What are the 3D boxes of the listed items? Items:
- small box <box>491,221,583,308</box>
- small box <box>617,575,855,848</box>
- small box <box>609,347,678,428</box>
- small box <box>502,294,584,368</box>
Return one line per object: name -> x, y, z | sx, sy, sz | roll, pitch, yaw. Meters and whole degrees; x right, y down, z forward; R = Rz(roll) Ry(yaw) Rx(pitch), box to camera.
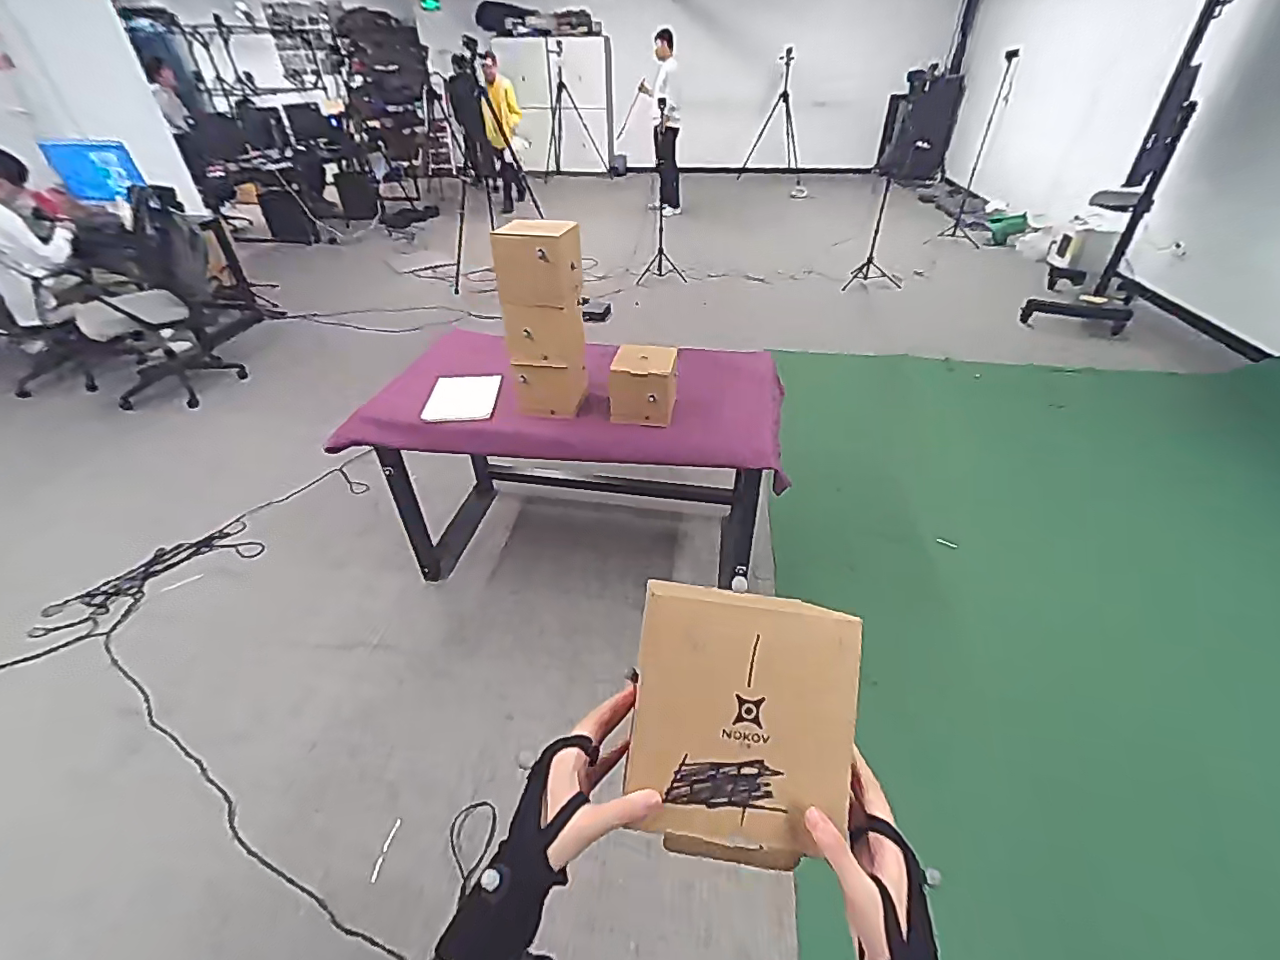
small box -> -0.250, -0.545, 1.368 | 0.179, 0.176, 0.168 | 7, 36, 10
small box -> 0.075, 0.188, 0.492 | 0.168, 0.176, 0.179 | 8, 82, 0
small box -> 0.014, -0.264, 1.538 | 0.168, 0.176, 0.179 | 6, 36, 8
small box -> -0.255, -0.417, 1.472 | 0.168, 0.176, 0.179 | 6, 36, 9
